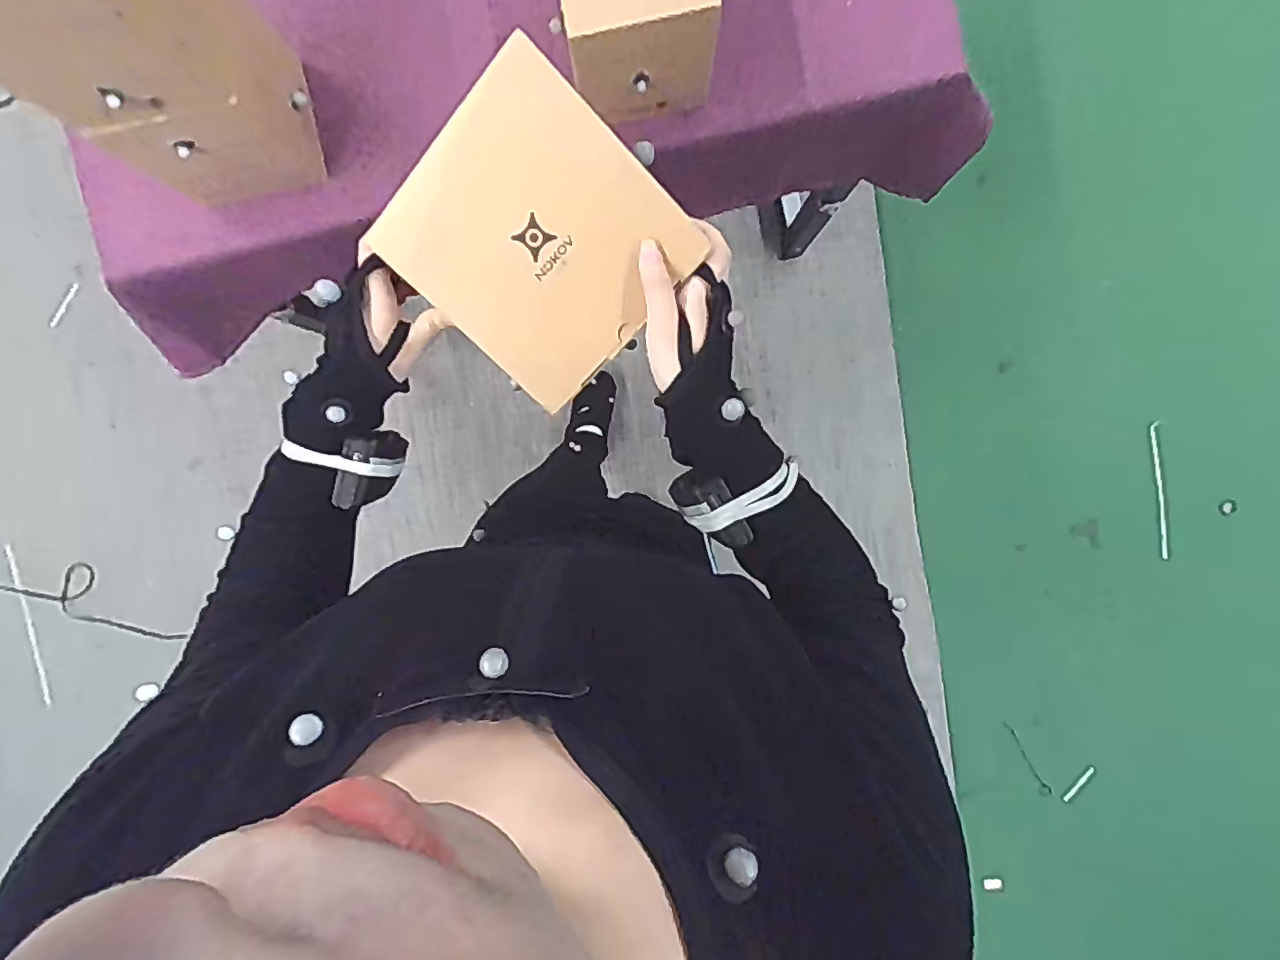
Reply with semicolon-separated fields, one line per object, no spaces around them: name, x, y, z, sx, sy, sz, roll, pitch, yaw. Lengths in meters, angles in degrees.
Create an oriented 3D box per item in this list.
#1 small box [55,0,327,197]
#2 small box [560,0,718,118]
small box;-0.524;-0.471;0.654;0.179;0.176;0.168;-11;94;1
small box;-0.009;-0.565;0.640;0.168;0.176;0.179;-10;93;1
